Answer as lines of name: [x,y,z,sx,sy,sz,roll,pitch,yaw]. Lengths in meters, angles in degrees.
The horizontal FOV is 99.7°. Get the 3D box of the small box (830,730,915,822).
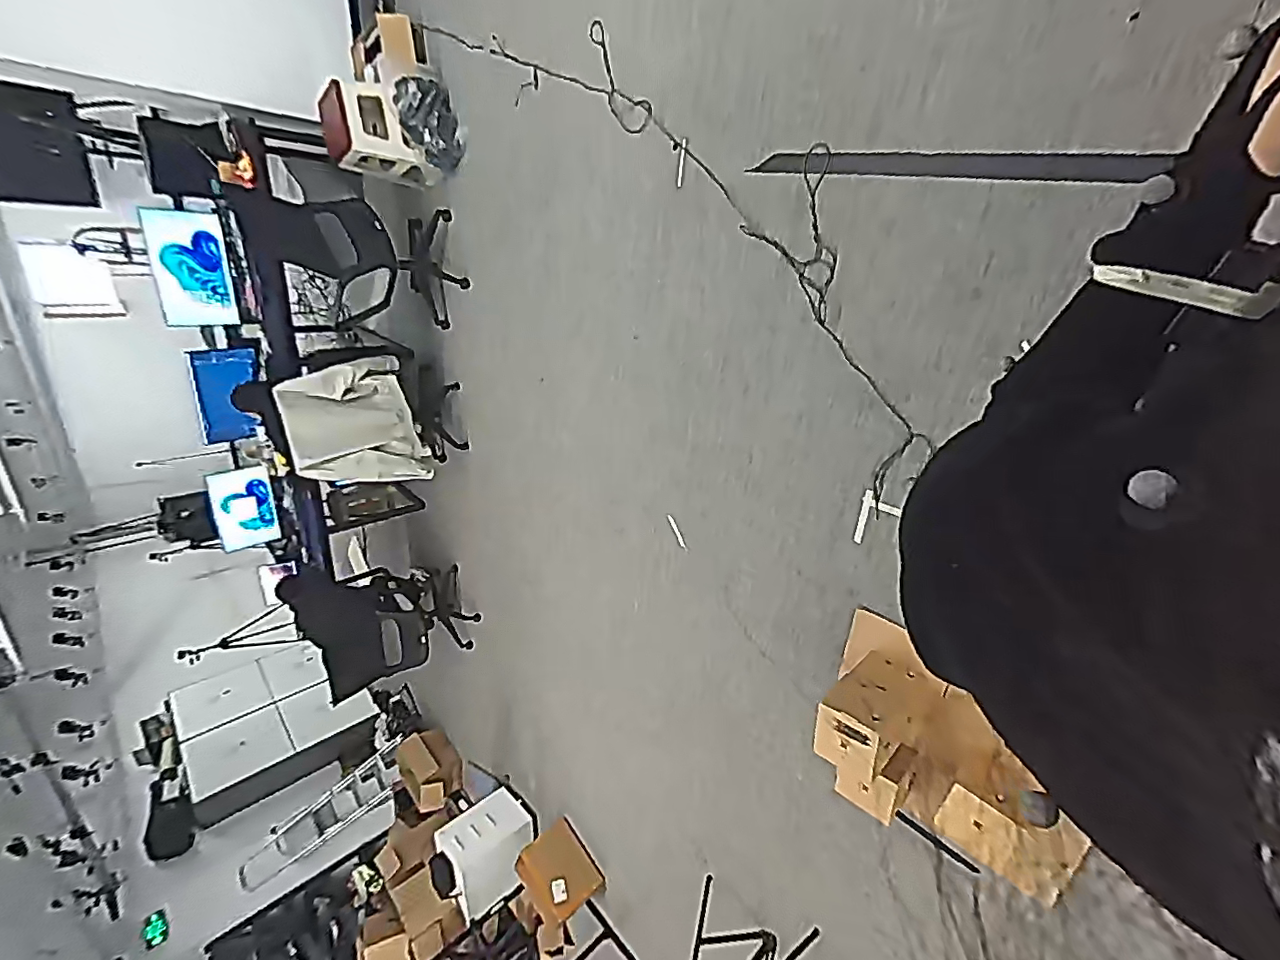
small box: [0.718,0.892,1.671,0.179,0.176,0.168,19,118,41]

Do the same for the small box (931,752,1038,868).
small box: [0.919,0.866,1.443,0.179,0.176,0.168,28,122,36]

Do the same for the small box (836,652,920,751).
small box: [0.705,0.643,1.596,0.168,0.176,0.179,20,118,42]
